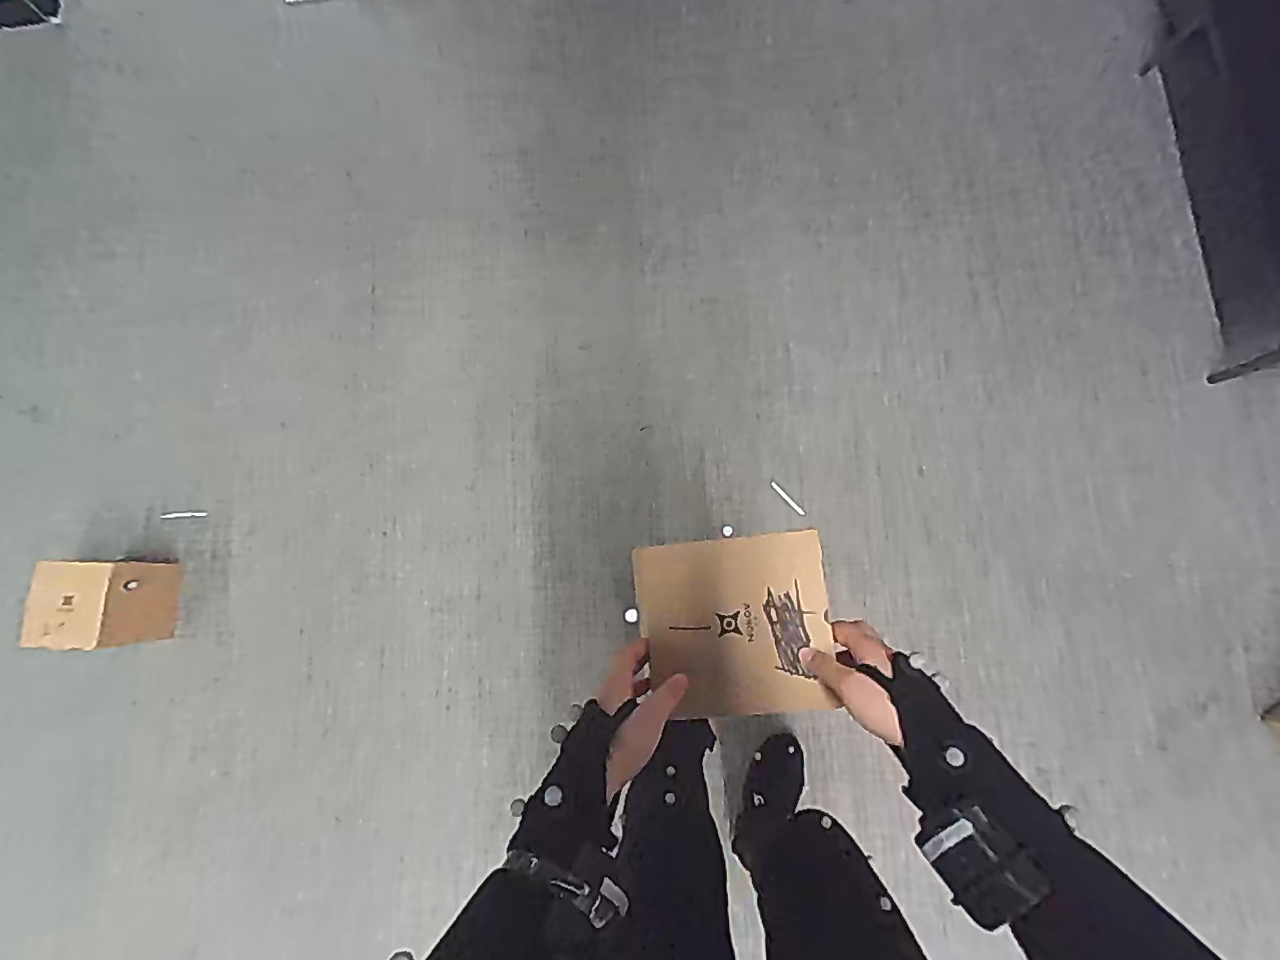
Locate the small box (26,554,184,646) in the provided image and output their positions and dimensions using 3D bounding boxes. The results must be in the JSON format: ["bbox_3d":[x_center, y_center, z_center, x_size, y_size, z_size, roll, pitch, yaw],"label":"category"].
[{"bbox_3d":[-1.147,0.256,1.176,0.168,0.176,0.179,2,81,3],"label":"small box"}]

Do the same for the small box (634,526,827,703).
[{"bbox_3d":[0.090,0.143,0.620,0.179,0.176,0.168,-4,81,-4],"label":"small box"}]
